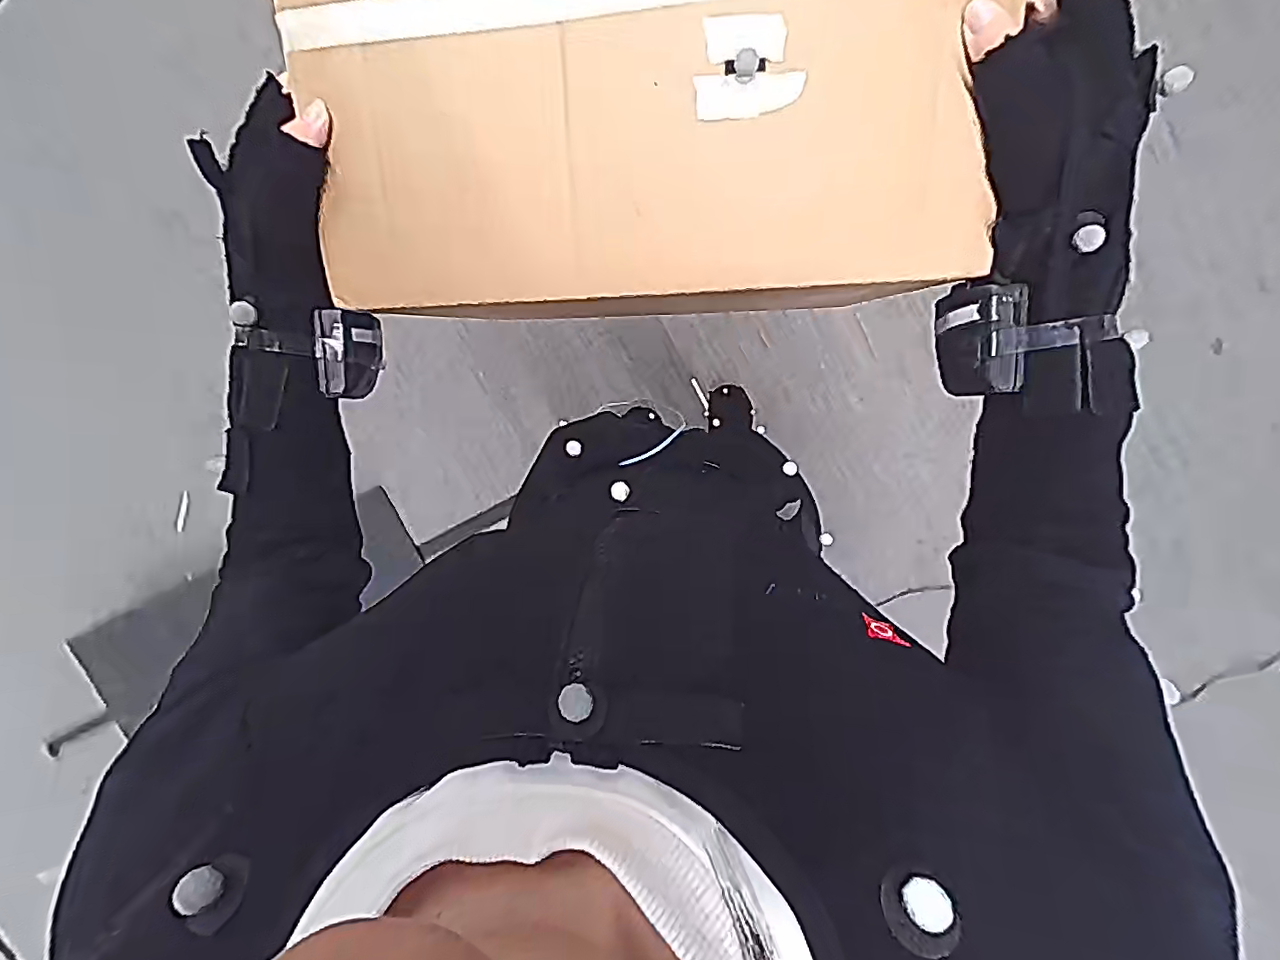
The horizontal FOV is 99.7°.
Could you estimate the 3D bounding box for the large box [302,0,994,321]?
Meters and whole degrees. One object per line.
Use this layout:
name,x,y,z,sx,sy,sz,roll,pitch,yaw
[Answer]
large box,0.008,-0.312,0.451,0.408,0.320,0.320,-2,106,7
